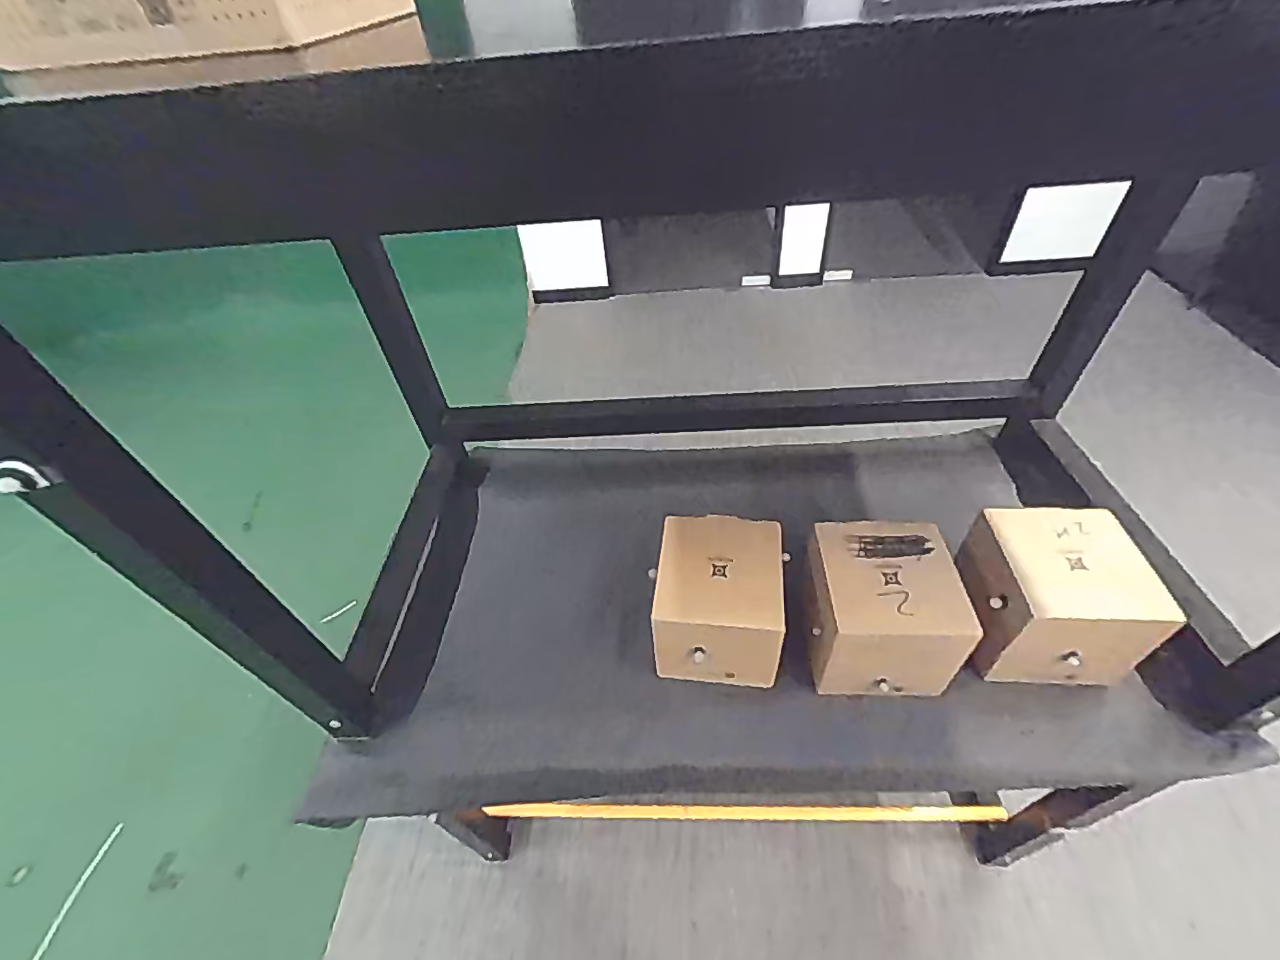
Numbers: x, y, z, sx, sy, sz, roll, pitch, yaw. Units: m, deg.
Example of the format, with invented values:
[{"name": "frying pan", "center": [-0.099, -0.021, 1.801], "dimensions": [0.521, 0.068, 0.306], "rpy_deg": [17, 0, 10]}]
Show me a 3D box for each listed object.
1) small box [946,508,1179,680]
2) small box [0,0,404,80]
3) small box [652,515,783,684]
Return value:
[{"name": "small box", "center": [0.553, 0.157, 0.743], "dimensions": [0.168, 0.176, 0.179], "rpy_deg": [0, 45, 6]}, {"name": "small box", "center": [-0.248, -0.324, 0.279], "dimensions": [0.168, 0.176, 0.179], "rpy_deg": [-1, 46, 5]}, {"name": "small box", "center": [0.114, 0.173, 0.780], "dimensions": [0.168, 0.176, 0.179], "rpy_deg": [3, 45, 9]}]
